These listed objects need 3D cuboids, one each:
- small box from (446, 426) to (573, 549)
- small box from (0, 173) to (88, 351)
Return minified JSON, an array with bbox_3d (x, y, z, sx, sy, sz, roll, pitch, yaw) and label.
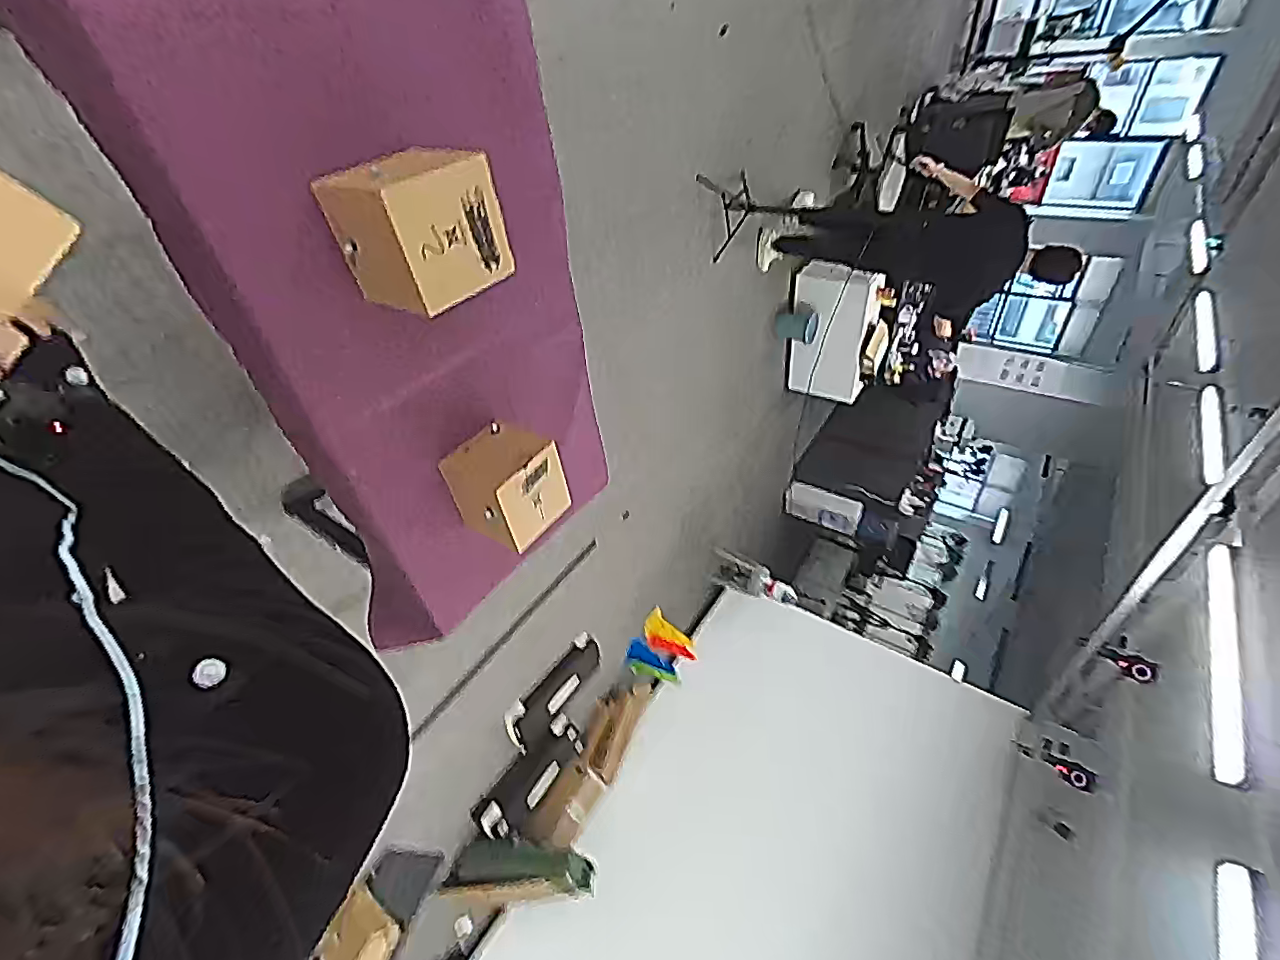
[{"bbox_3d":[-0.266,0.006,1.112,0.168,0.176,0.179,-46,144,-34],"label":"small box"},{"bbox_3d":[-0.717,-0.231,0.519,0.179,0.176,0.168,45,49,-55],"label":"small box"}]
